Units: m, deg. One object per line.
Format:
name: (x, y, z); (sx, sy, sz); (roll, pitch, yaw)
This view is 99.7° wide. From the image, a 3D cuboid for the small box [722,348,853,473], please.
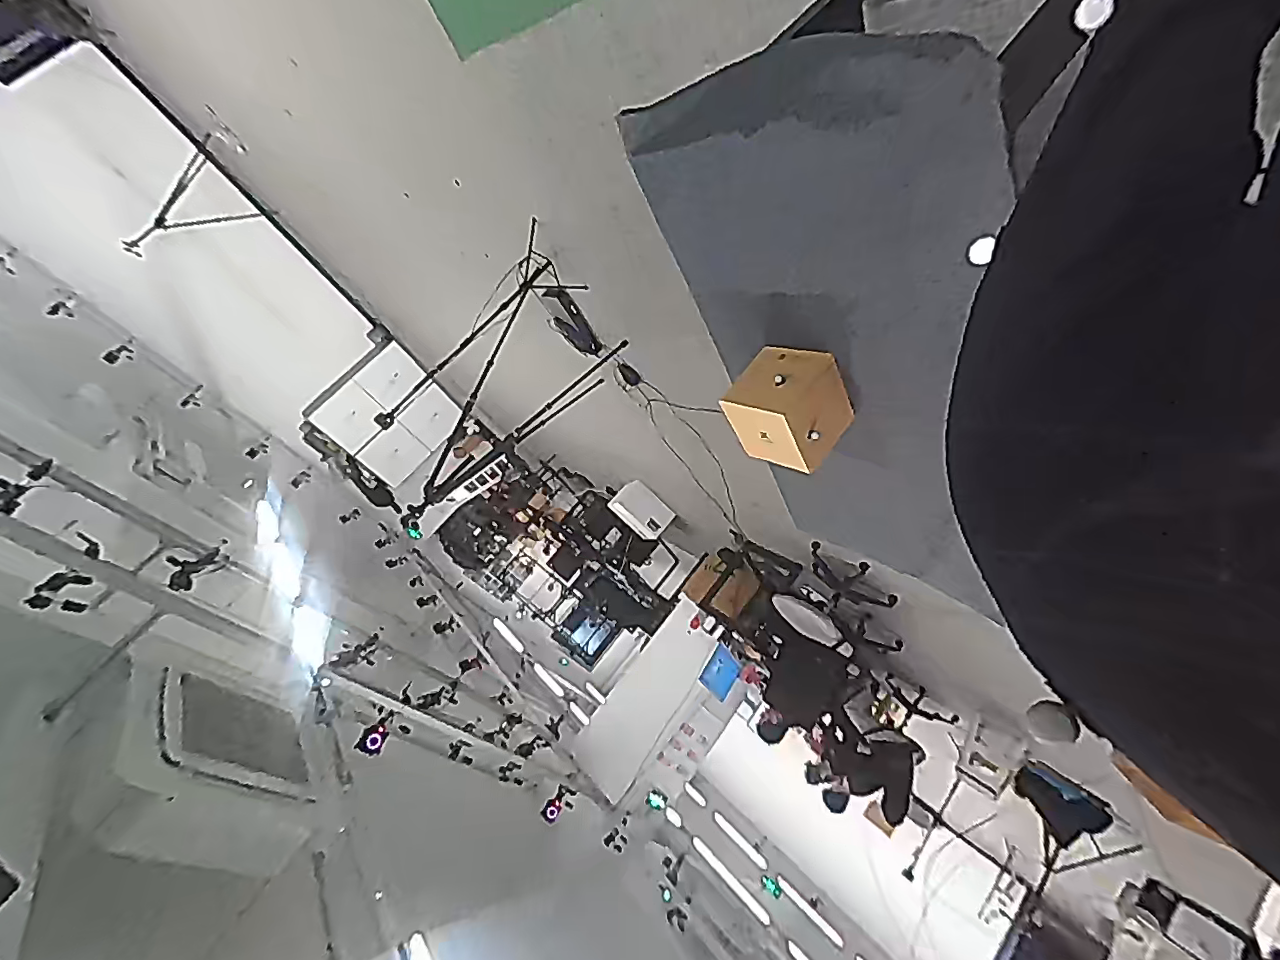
small box: (0.304, -0.147, 1.099); (0.168, 0.176, 0.179); (23, 159, 48)
